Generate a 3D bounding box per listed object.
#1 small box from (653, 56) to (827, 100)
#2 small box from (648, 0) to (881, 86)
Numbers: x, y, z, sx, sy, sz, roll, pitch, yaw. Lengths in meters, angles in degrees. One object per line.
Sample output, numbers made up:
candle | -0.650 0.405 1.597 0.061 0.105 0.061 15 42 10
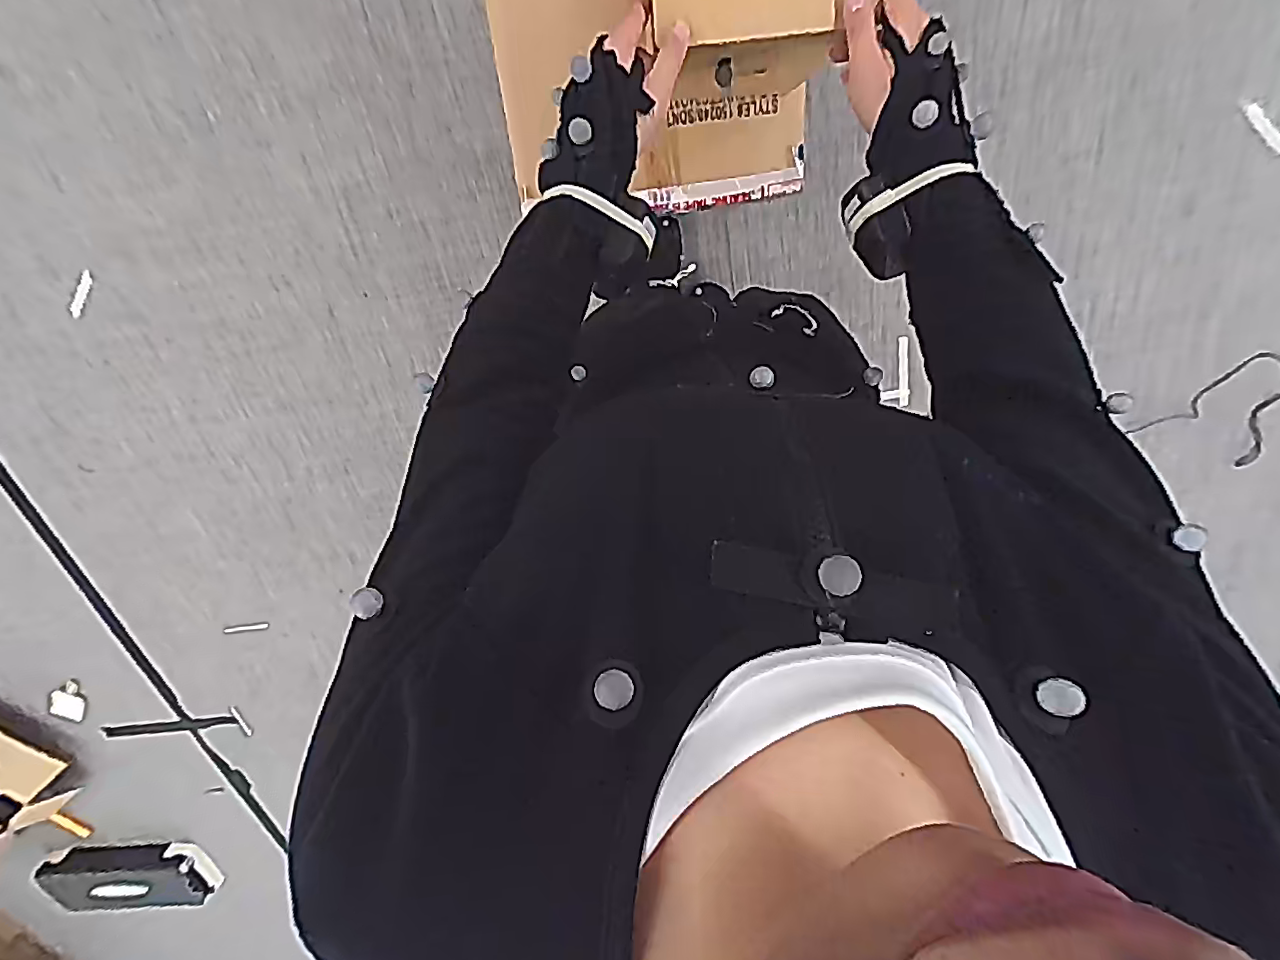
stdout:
small box | 0.100 -0.517 0.572 0.179 0.176 0.168 -3 118 1
small box | 0.088 -0.435 0.430 0.168 0.176 0.179 -4 116 3
